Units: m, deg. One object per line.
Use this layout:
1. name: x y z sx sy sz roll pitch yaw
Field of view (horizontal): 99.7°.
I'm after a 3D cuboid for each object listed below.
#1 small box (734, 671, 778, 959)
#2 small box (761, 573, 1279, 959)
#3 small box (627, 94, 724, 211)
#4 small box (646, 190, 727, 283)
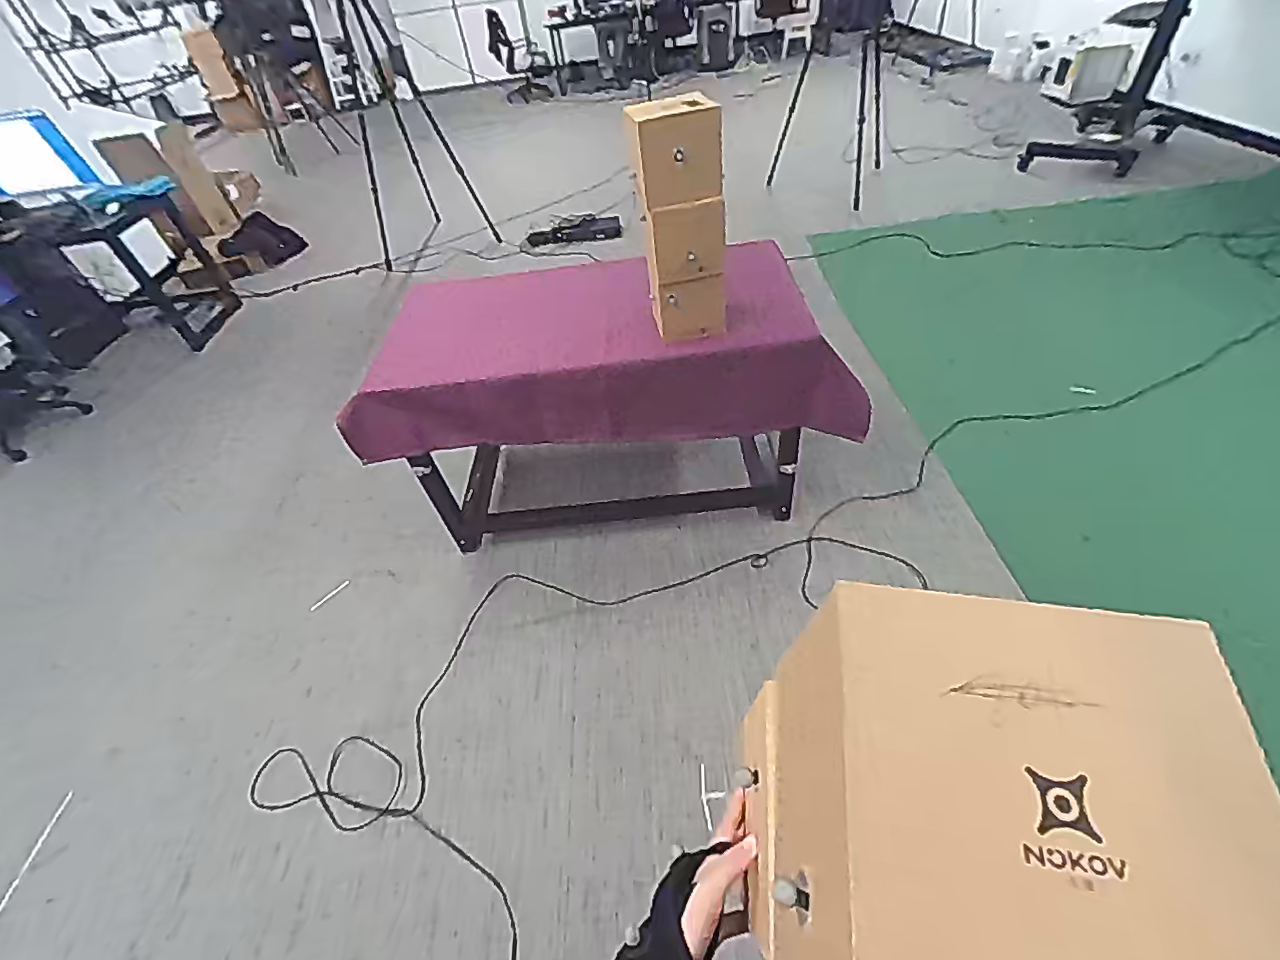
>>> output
1. small box: 0.166 0.257 0.413 0.179 0.176 0.168 3 58 6
2. small box: 0.158 0.168 0.276 0.168 0.176 0.179 6 58 6
3. small box: 0.077 -0.713 1.178 0.179 0.176 0.168 -13 44 -2
4. small box: 0.107 -0.591 1.286 0.168 0.176 0.179 -11 45 0
